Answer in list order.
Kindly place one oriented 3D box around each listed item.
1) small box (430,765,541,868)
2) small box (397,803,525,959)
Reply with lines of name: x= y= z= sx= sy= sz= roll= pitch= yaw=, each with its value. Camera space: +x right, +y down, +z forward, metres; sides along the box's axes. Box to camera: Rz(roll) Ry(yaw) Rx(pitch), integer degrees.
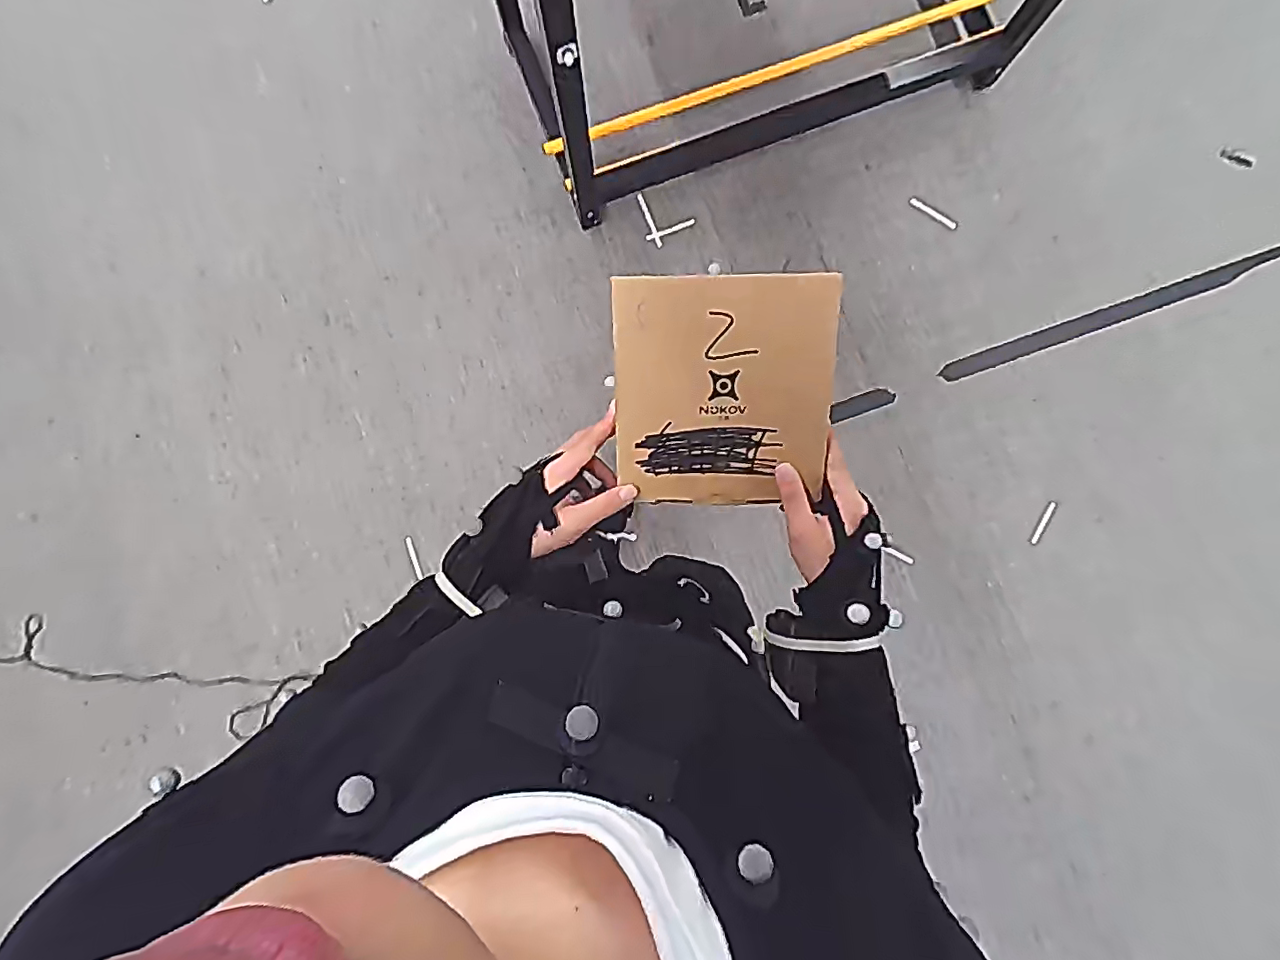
small box: x=-0.351 y=0.806 z=1.254 sx=0.179 sy=0.176 sz=0.168 roll=-27 pitch=88 yaw=-3
small box: x=-0.351 y=0.794 z=1.092 sx=0.168 sy=0.176 sz=0.179 roll=-25 pitch=89 yaw=-2
